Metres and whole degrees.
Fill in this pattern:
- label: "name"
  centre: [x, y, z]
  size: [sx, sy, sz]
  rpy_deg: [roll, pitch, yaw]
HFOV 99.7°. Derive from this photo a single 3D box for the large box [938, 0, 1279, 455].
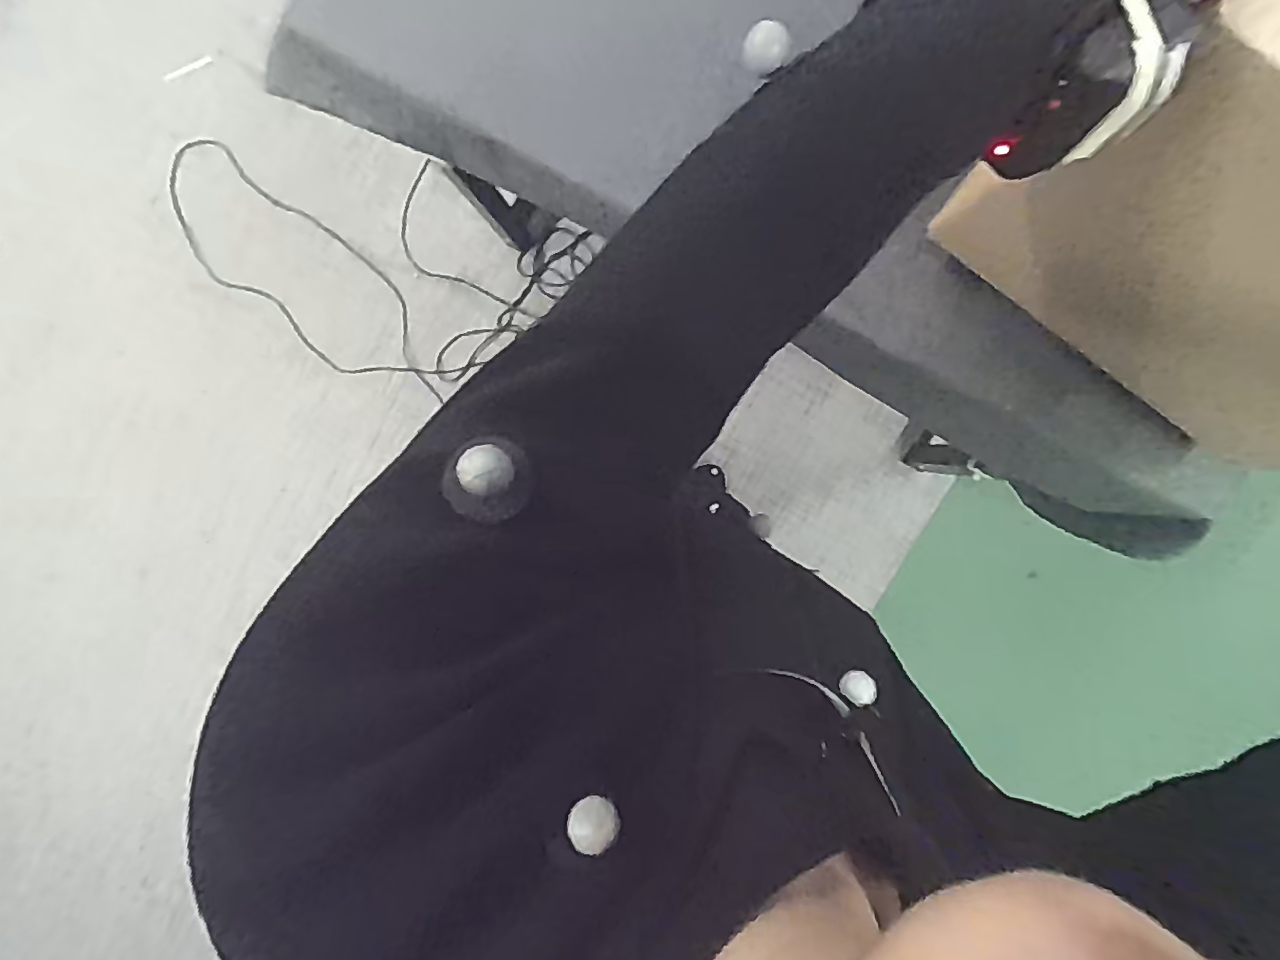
- label: "large box"
  centre: [0.531, -0.246, 0.385]
  size: [0.408, 0.320, 0.320]
  rpy_deg: [37, 98, -1]
